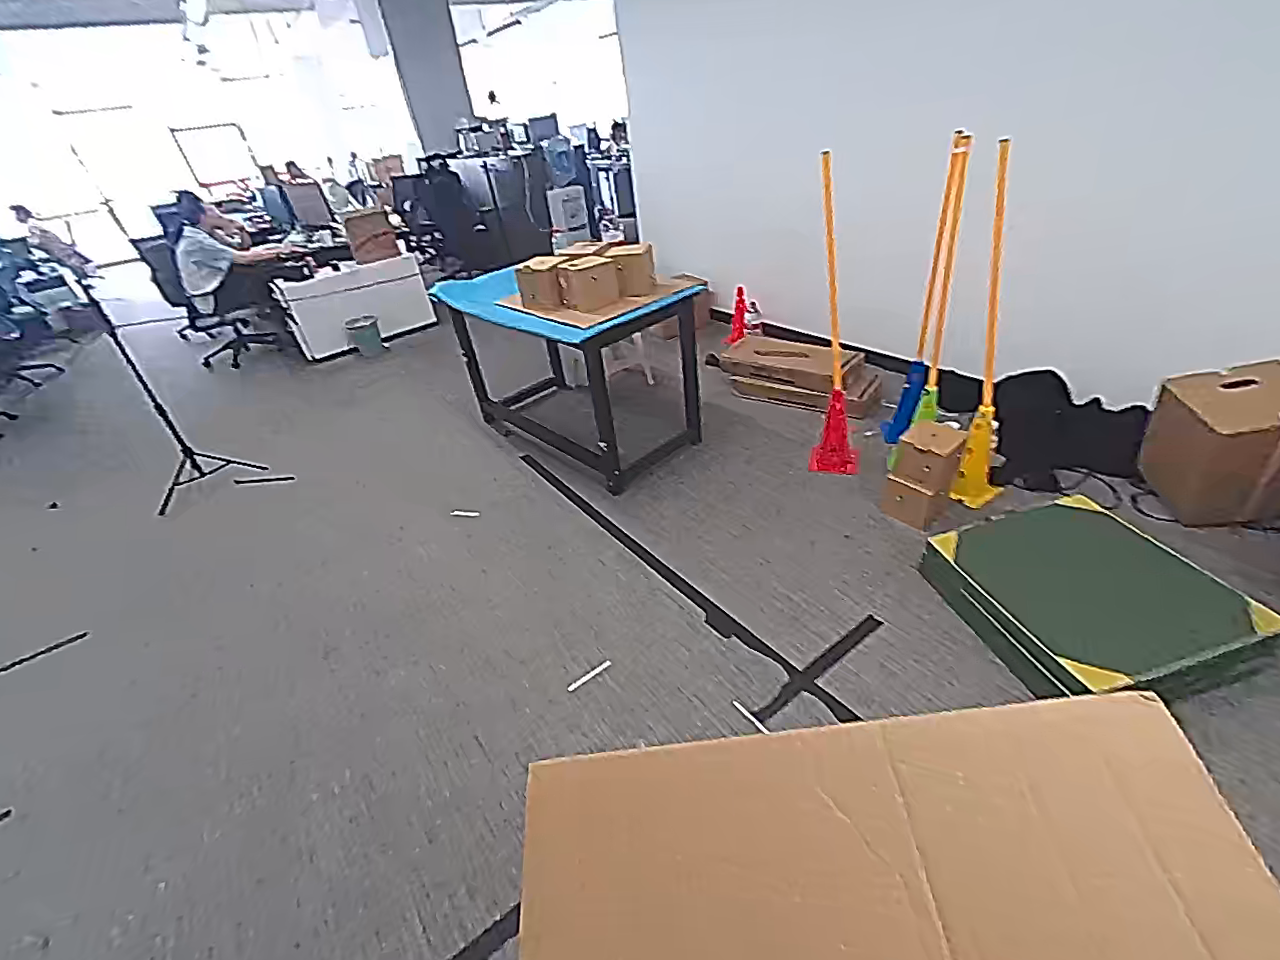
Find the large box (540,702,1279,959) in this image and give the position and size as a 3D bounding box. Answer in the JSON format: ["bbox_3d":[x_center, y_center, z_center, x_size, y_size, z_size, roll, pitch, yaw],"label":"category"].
[{"bbox_3d":[0.164,0.386,0.395,0.408,0.320,0.320,-10,54,7],"label":"large box"}]
